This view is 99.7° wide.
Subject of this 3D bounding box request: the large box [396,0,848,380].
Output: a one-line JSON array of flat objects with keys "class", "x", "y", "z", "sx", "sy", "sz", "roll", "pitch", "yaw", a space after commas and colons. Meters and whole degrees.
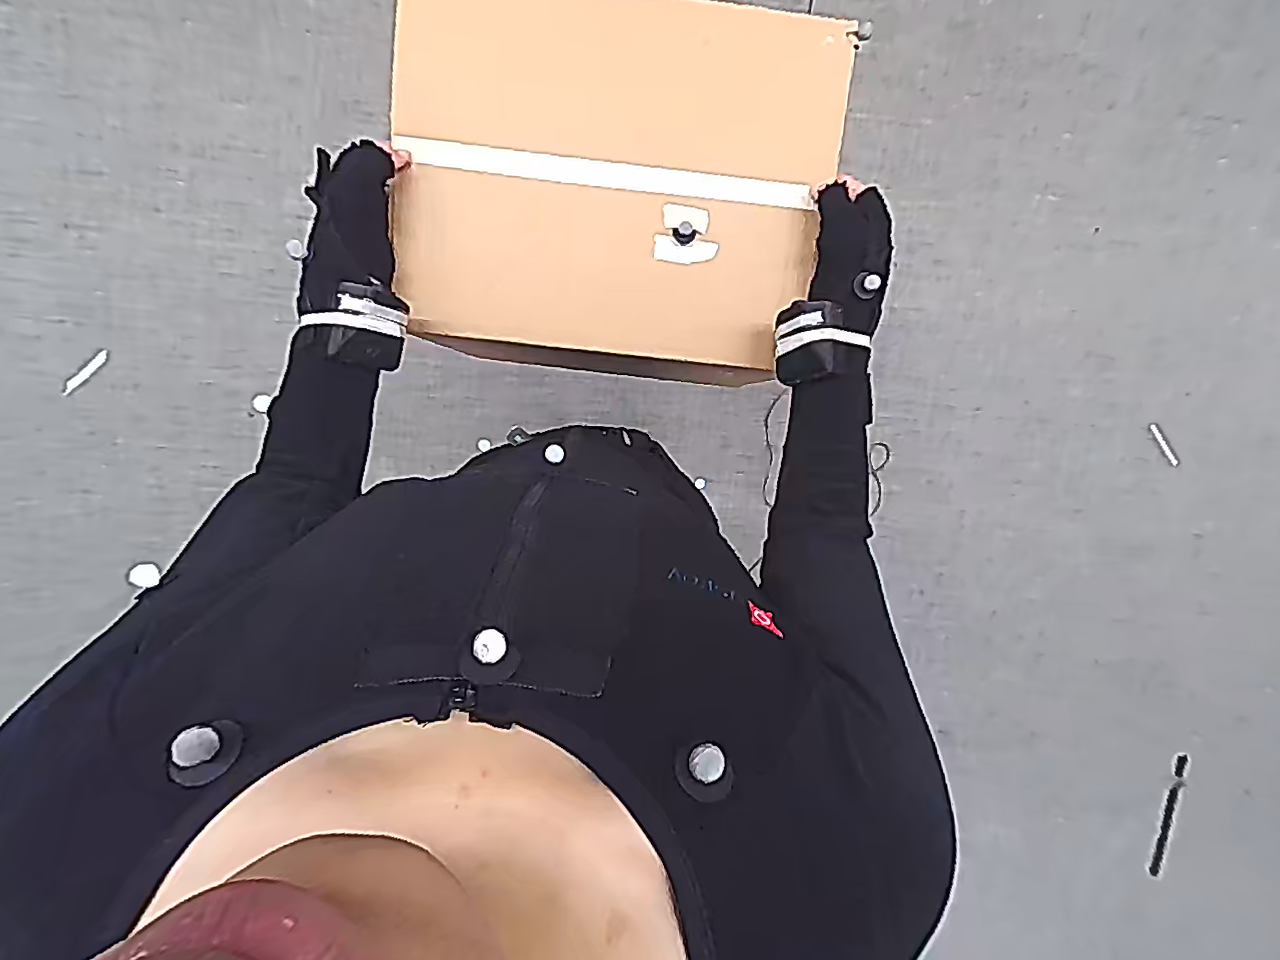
[{"class": "large box", "x": -0.028, "y": -0.300, "z": 0.646, "sx": 0.408, "sy": 0.320, "sz": 0.320, "roll": 5, "pitch": 97, "yaw": -4}]
